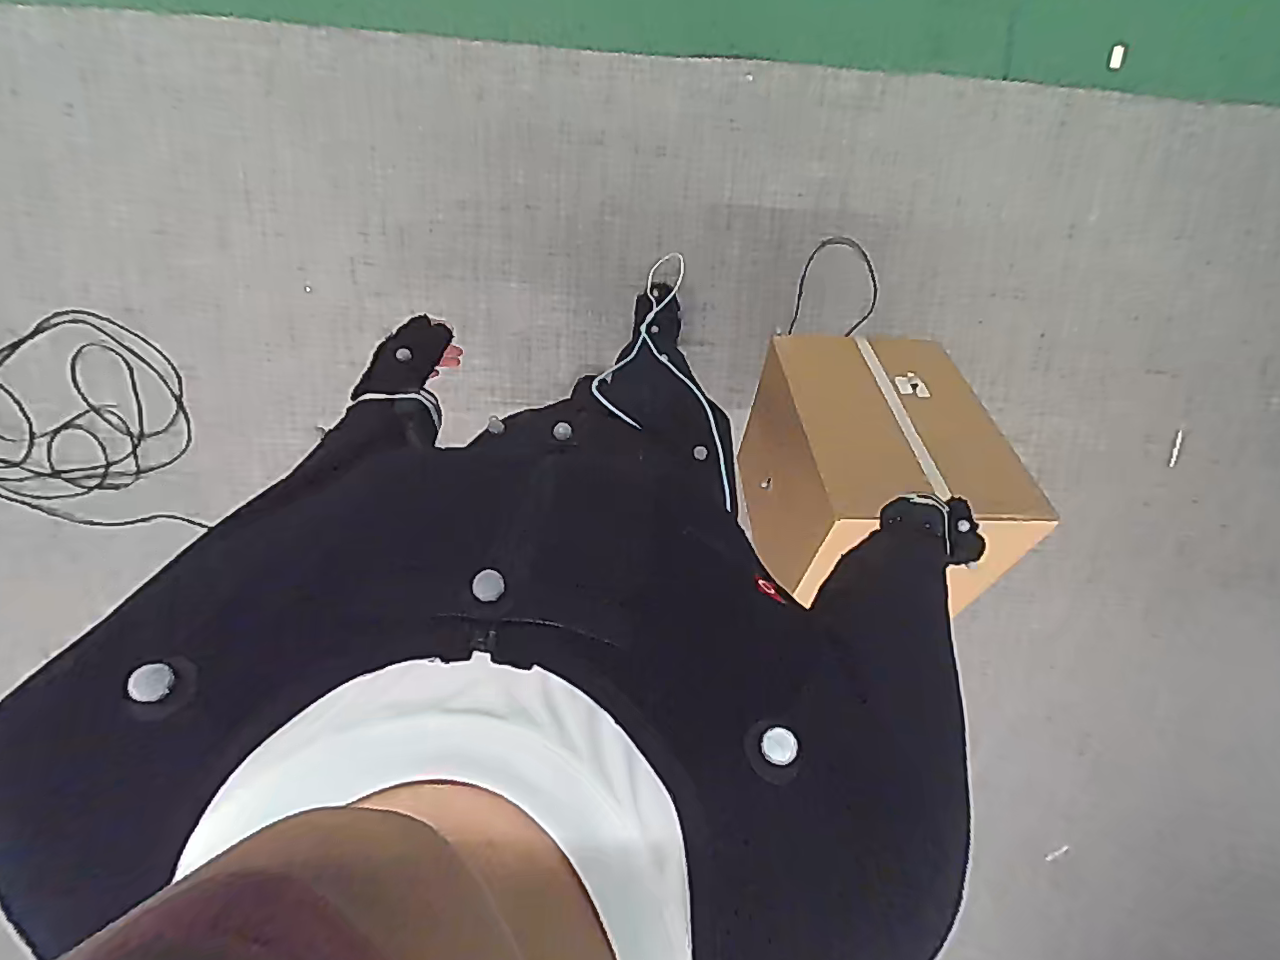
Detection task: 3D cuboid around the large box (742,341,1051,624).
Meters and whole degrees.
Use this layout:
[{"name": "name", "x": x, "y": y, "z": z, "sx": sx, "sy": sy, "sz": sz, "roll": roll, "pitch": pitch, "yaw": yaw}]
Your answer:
[{"name": "large box", "x": 0.388, "y": 0.003, "z": 0.957, "sx": 0.320, "sy": 0.408, "sz": 0.320, "roll": 2, "pitch": 138, "yaw": -5}]
